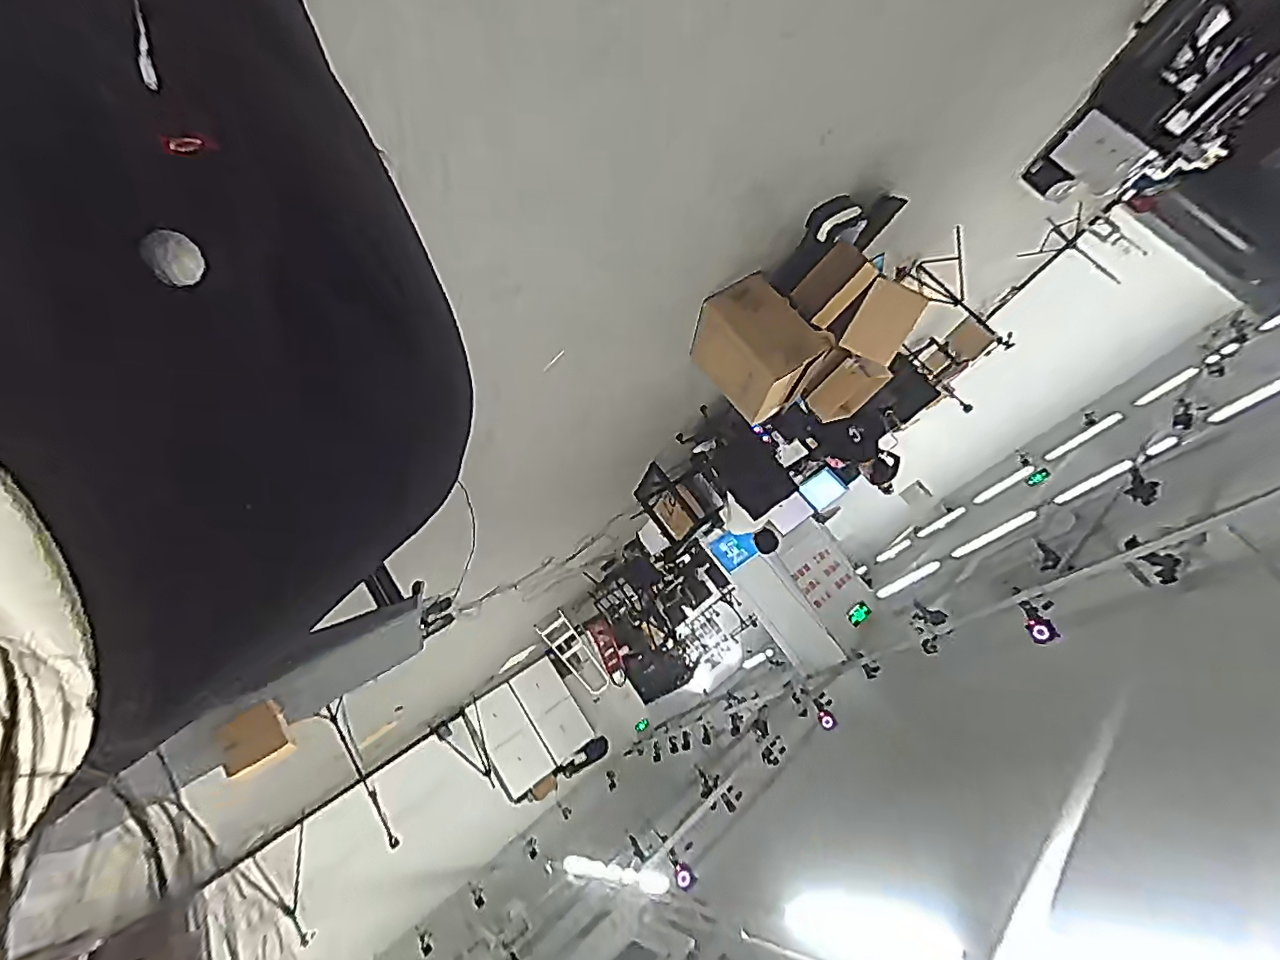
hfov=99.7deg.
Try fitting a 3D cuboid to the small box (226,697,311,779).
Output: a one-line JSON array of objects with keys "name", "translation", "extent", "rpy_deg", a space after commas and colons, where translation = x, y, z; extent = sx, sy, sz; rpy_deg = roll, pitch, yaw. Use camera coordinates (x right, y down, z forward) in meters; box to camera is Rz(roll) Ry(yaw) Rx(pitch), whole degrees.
[{"name": "small box", "translation": [-1.234, 0.855, 1.792], "extent": [0.179, 0.176, 0.168], "rpy_deg": [-30, 164, -32]}]
